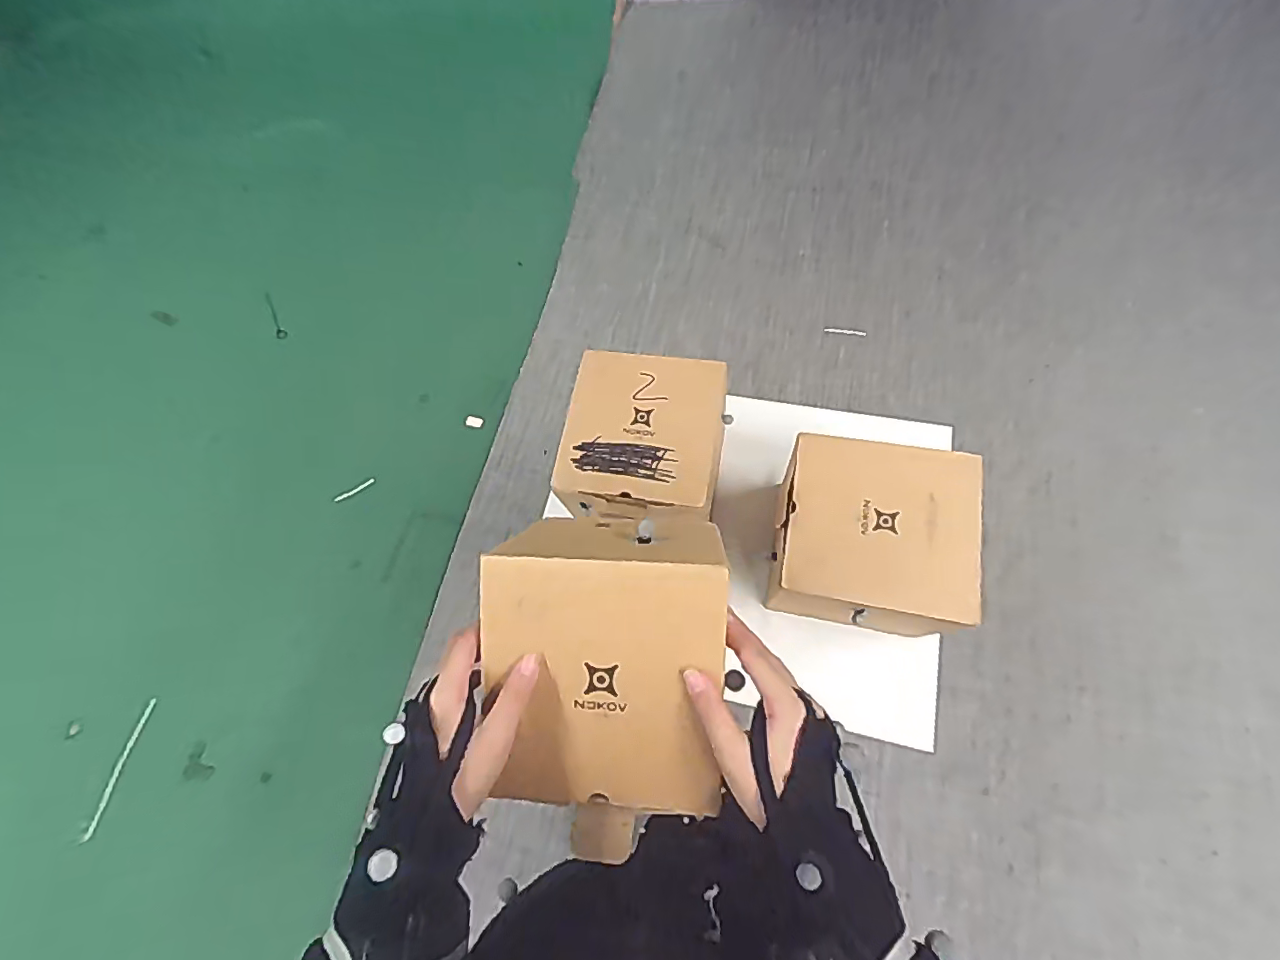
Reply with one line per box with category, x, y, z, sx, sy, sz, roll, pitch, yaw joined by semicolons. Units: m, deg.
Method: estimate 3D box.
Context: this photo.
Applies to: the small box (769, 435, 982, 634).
small box;0.241;0.067;0.588;0.179;0.176;0.168;8;72;11
